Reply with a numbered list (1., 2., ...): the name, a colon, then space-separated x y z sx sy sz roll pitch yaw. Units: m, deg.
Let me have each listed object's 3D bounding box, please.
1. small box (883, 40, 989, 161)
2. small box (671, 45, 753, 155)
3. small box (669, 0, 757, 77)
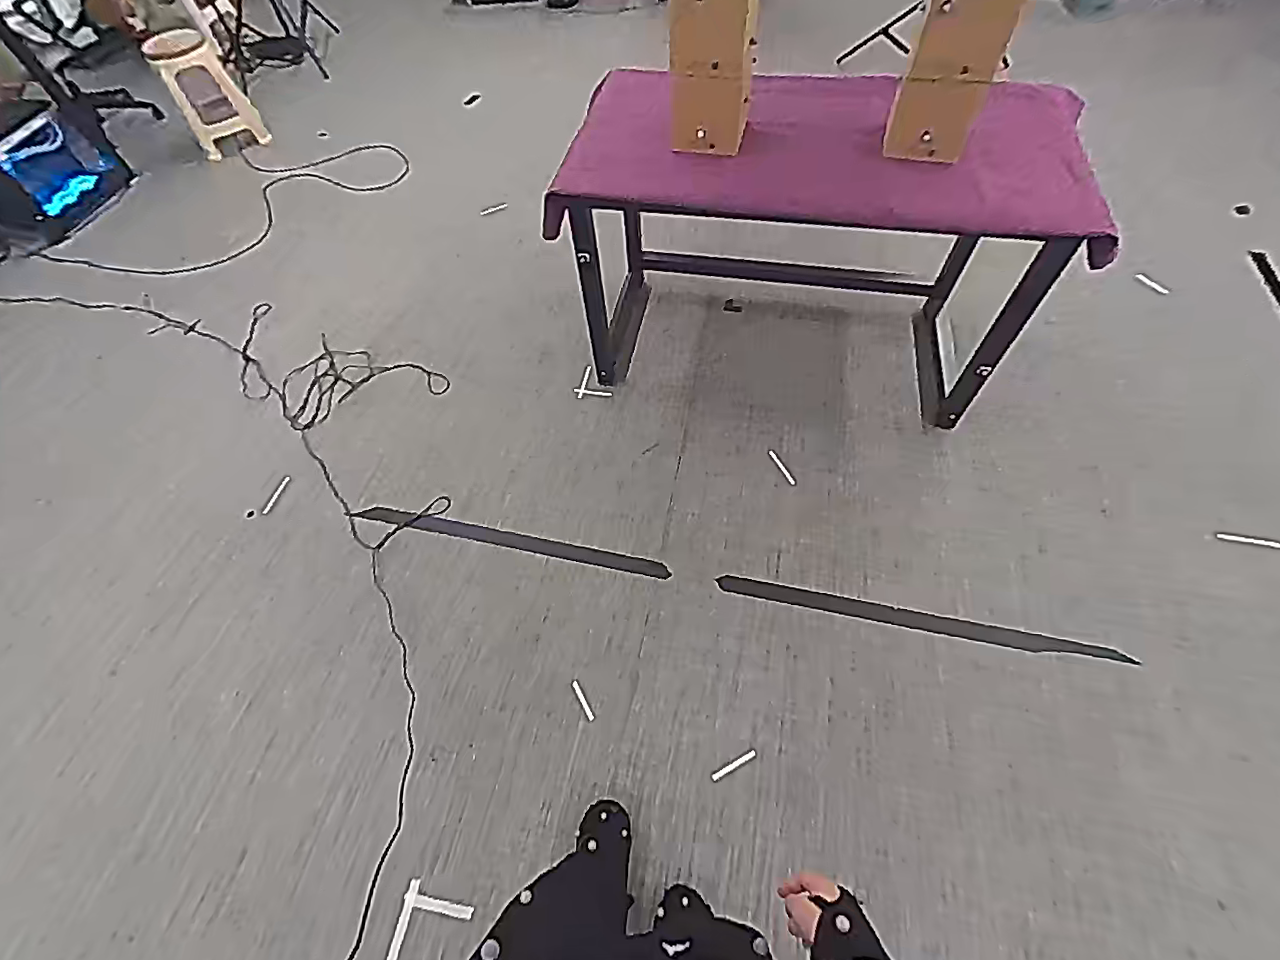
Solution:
1. small box: 0.670 -0.865 1.233 0.168 0.176 0.179 13 60 13
2. small box: 0.170 -0.920 1.303 0.168 0.176 0.179 10 61 10
3. small box: 0.159 -1.005 1.163 0.168 0.176 0.179 11 59 11
